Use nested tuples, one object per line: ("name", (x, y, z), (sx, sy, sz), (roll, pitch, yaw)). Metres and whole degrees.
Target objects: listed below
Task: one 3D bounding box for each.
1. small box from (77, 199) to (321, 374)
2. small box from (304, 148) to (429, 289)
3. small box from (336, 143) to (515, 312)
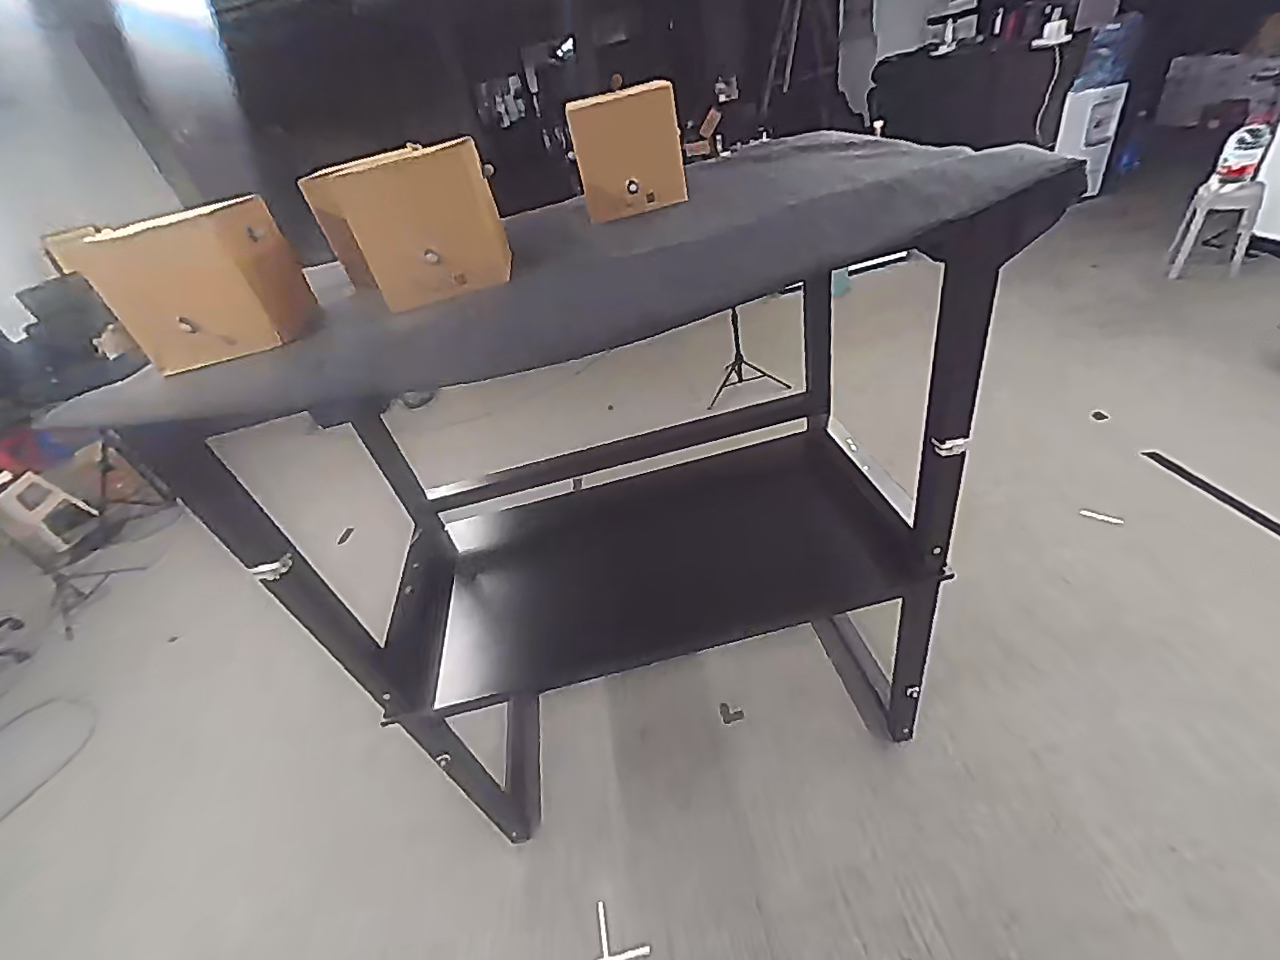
("small box", (-0.575, -0.267, 0.741), (0.168, 0.176, 0.179), (-16, 36, -3))
("small box", (-0.425, -0.449, 0.928), (0.179, 0.176, 0.168), (-16, 37, -3))
("small box", (-0.281, -0.353, 0.756), (0.168, 0.176, 0.179), (-15, 36, -1))
